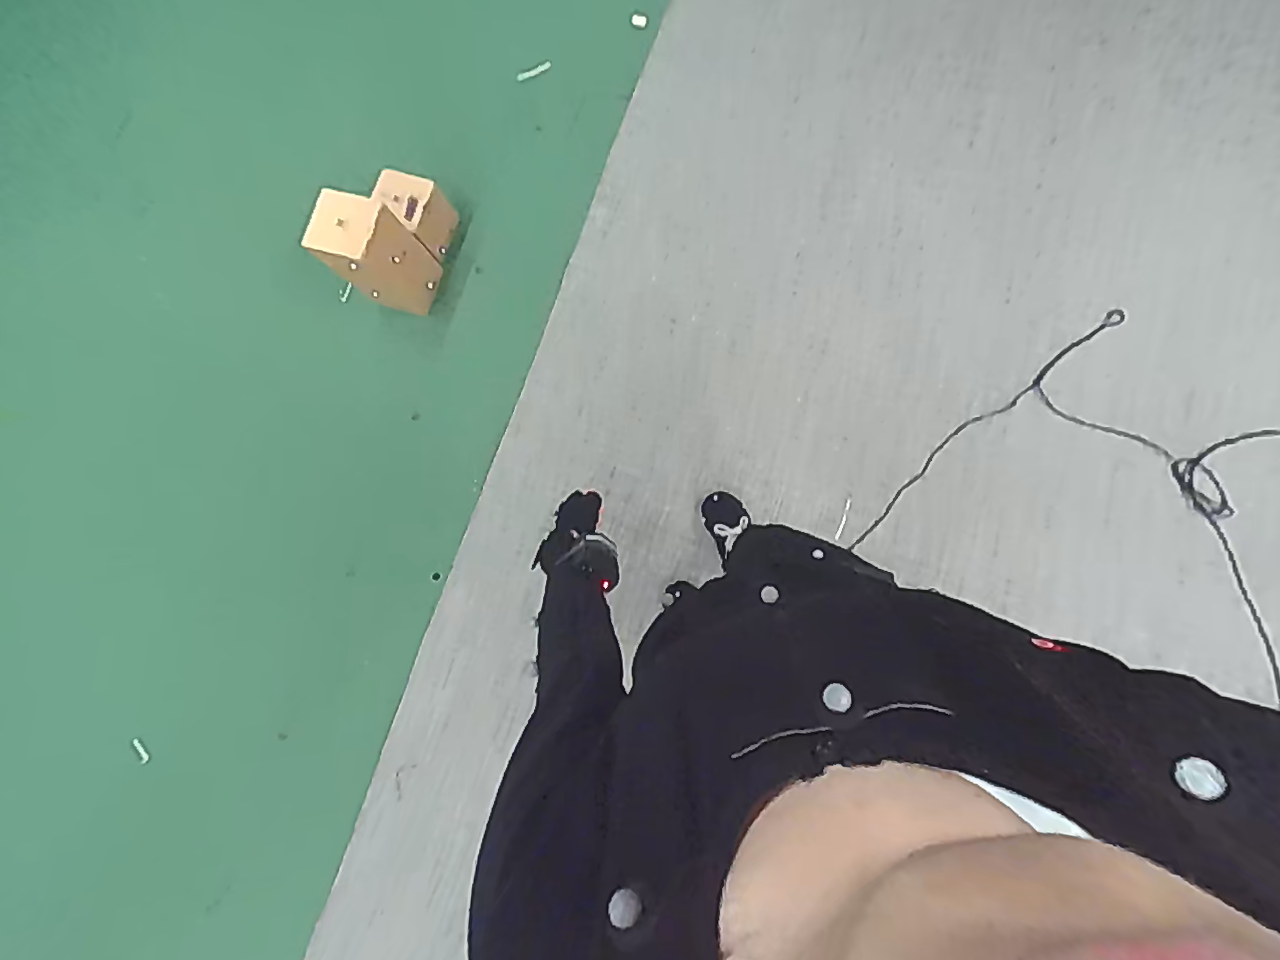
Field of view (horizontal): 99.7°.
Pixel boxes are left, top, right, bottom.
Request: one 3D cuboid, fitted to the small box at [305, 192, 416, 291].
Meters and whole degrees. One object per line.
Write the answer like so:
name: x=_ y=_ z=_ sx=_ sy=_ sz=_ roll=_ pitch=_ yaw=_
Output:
small box: x=-0.741 y=-0.632 z=1.451 sx=0.179 sy=0.176 sz=0.168 roll=15 pitch=84 yaw=7
